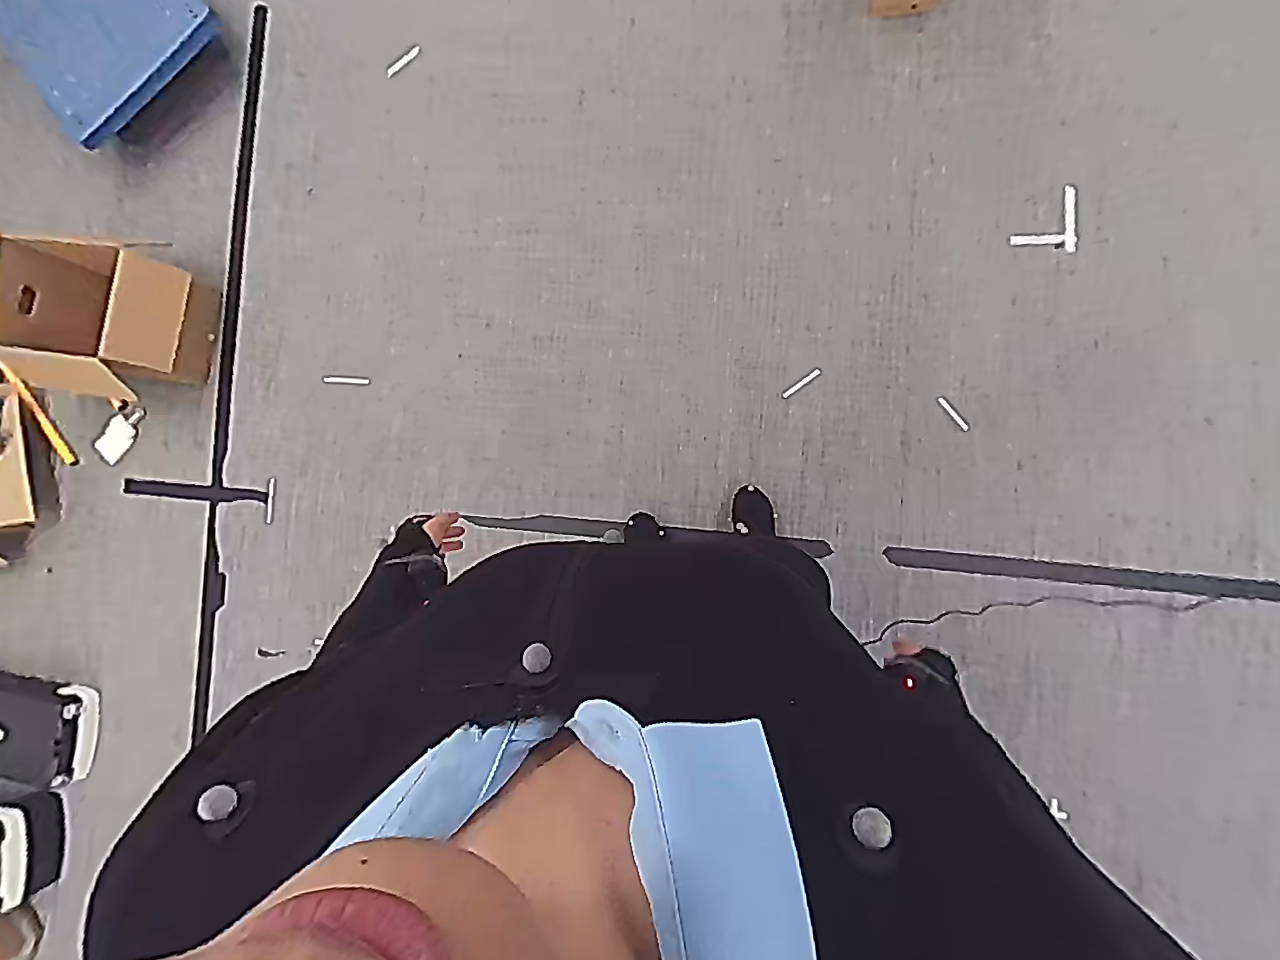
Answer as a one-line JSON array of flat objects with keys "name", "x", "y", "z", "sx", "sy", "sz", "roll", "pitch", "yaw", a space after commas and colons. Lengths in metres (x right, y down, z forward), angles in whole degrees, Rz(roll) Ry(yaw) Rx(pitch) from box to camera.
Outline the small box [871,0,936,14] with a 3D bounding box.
[{"name": "small box", "x": 0.708, "y": -1.363, "z": 1.406, "sx": 0.168, "sy": 0.176, "sz": 0.179, "roll": 0, "pitch": 87, "yaw": 7}]
